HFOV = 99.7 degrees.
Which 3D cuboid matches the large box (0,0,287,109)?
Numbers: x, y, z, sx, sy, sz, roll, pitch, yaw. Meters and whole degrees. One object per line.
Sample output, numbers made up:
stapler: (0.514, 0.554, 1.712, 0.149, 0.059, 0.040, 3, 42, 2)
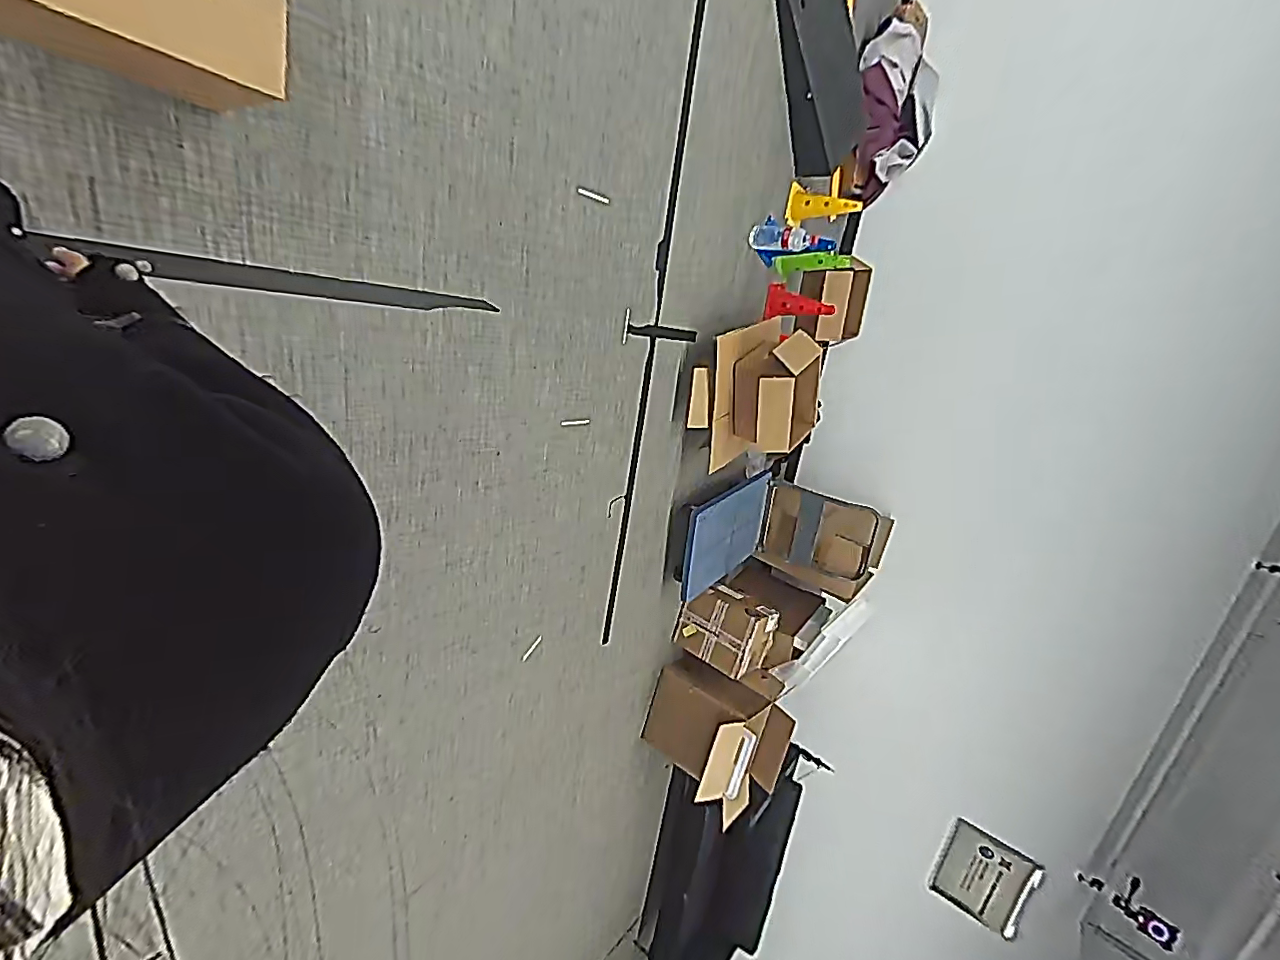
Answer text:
large box: (-0.805, -0.807, 0.791, 0.408, 0.320, 0.320, -10, 116, -53)
